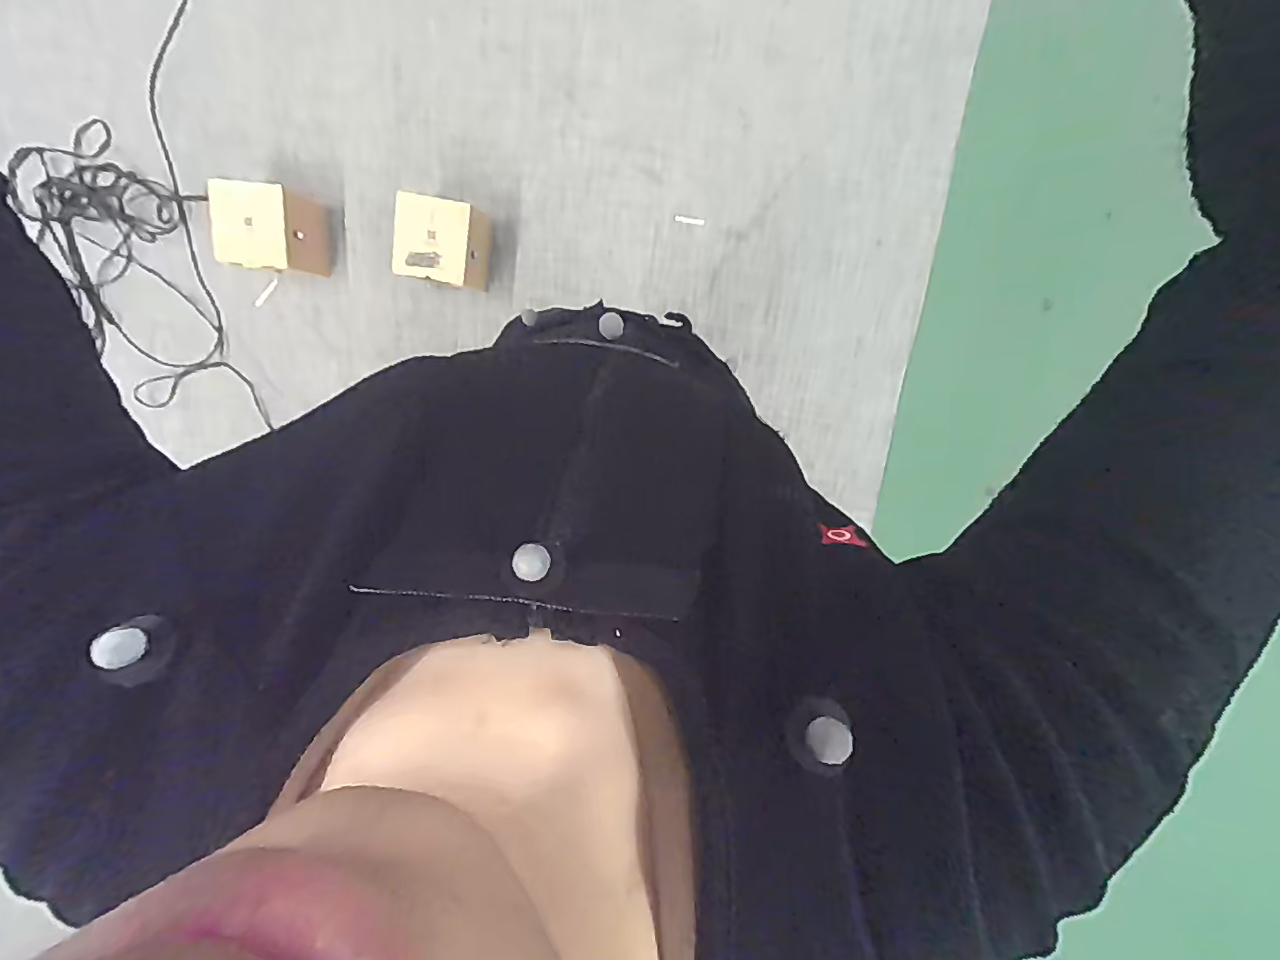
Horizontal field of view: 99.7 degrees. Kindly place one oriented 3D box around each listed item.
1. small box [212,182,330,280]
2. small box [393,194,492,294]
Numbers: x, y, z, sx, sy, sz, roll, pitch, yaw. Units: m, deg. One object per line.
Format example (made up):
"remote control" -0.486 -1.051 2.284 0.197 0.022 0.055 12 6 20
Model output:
"small box" -0.861 -0.580 1.278 0.168 0.176 0.179 5 105 0
"small box" -0.460 -0.546 1.277 0.168 0.176 0.179 10 103 -1
